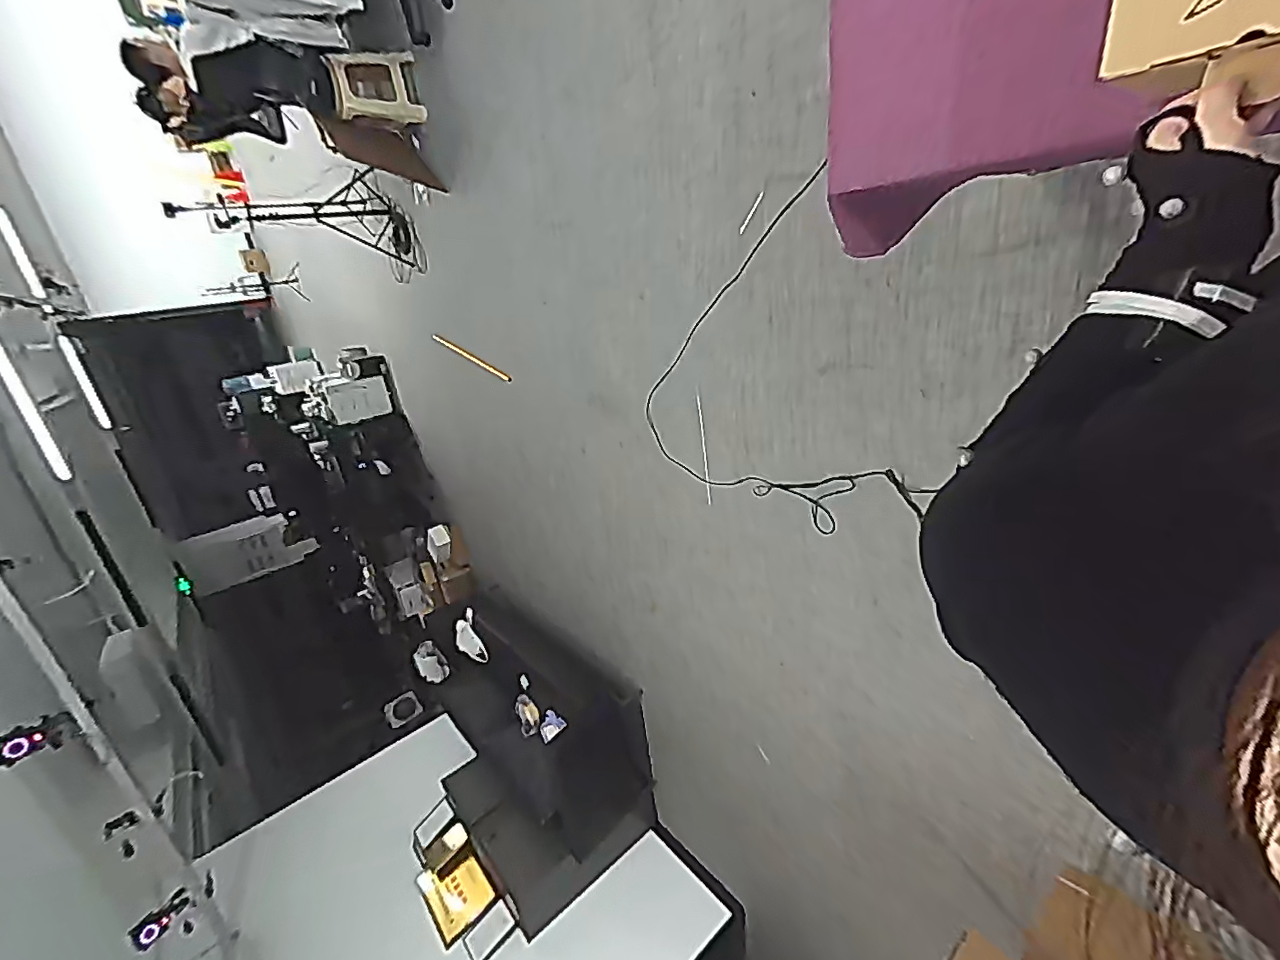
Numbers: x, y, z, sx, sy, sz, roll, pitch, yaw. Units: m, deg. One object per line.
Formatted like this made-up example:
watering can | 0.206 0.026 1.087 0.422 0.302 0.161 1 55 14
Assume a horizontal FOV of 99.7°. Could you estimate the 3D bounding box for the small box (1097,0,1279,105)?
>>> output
small box | 0.471 -0.397 0.387 0.168 0.176 0.179 21 124 47
